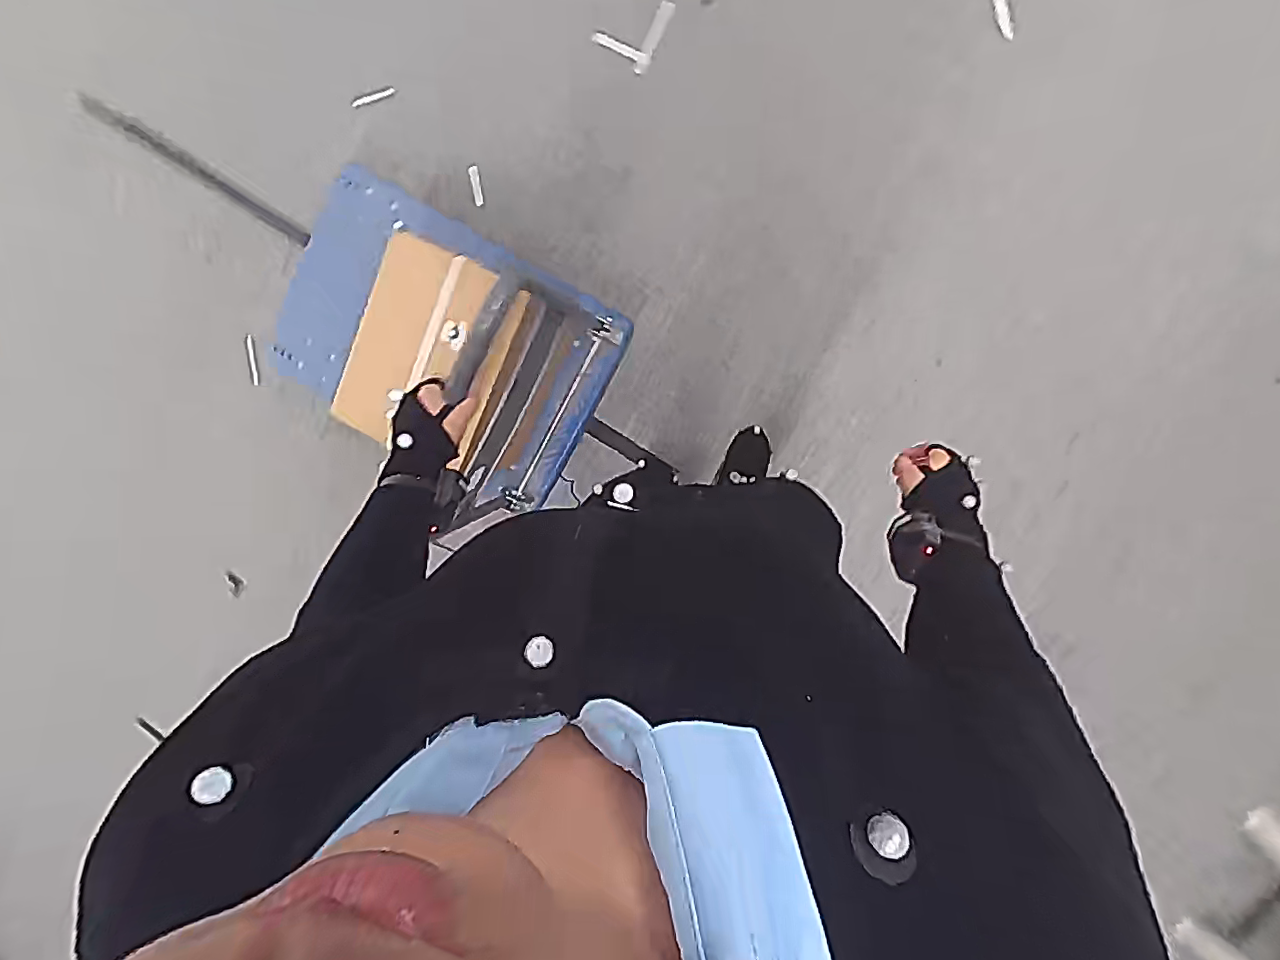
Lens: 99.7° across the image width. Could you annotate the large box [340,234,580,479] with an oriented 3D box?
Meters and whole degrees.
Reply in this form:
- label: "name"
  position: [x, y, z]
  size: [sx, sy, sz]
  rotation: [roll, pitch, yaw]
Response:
- label: "large box"
  position: [-0.385, -0.255, 1.222]
  size: [0.320, 0.320, 0.408]
  rotation: [27, 100, 6]
